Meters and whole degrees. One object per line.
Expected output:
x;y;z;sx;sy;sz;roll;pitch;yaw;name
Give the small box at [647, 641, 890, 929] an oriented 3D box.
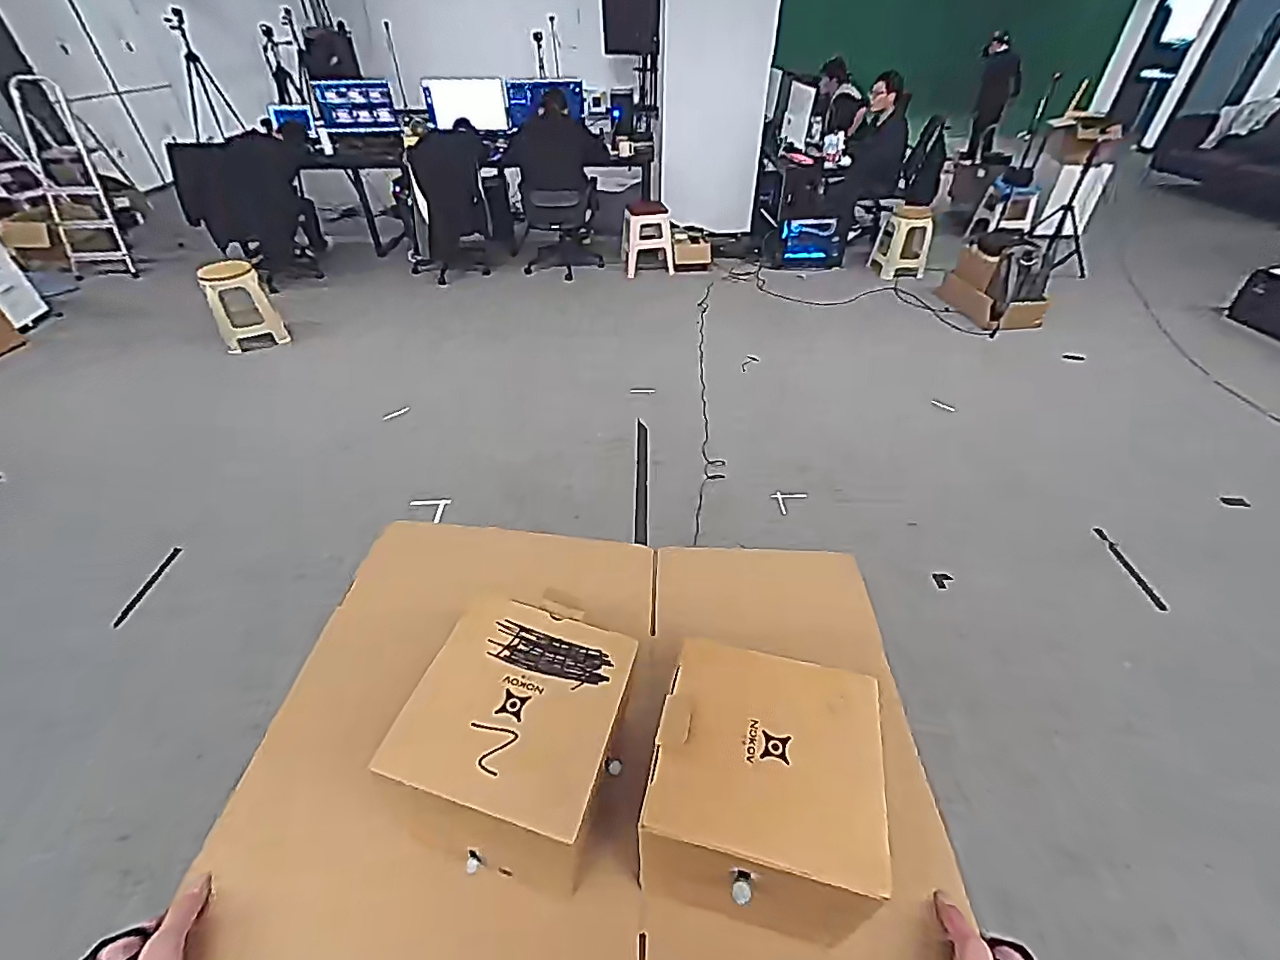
0.111;0.279;0.498;0.179;0.176;0.168;8;42;12;small box
